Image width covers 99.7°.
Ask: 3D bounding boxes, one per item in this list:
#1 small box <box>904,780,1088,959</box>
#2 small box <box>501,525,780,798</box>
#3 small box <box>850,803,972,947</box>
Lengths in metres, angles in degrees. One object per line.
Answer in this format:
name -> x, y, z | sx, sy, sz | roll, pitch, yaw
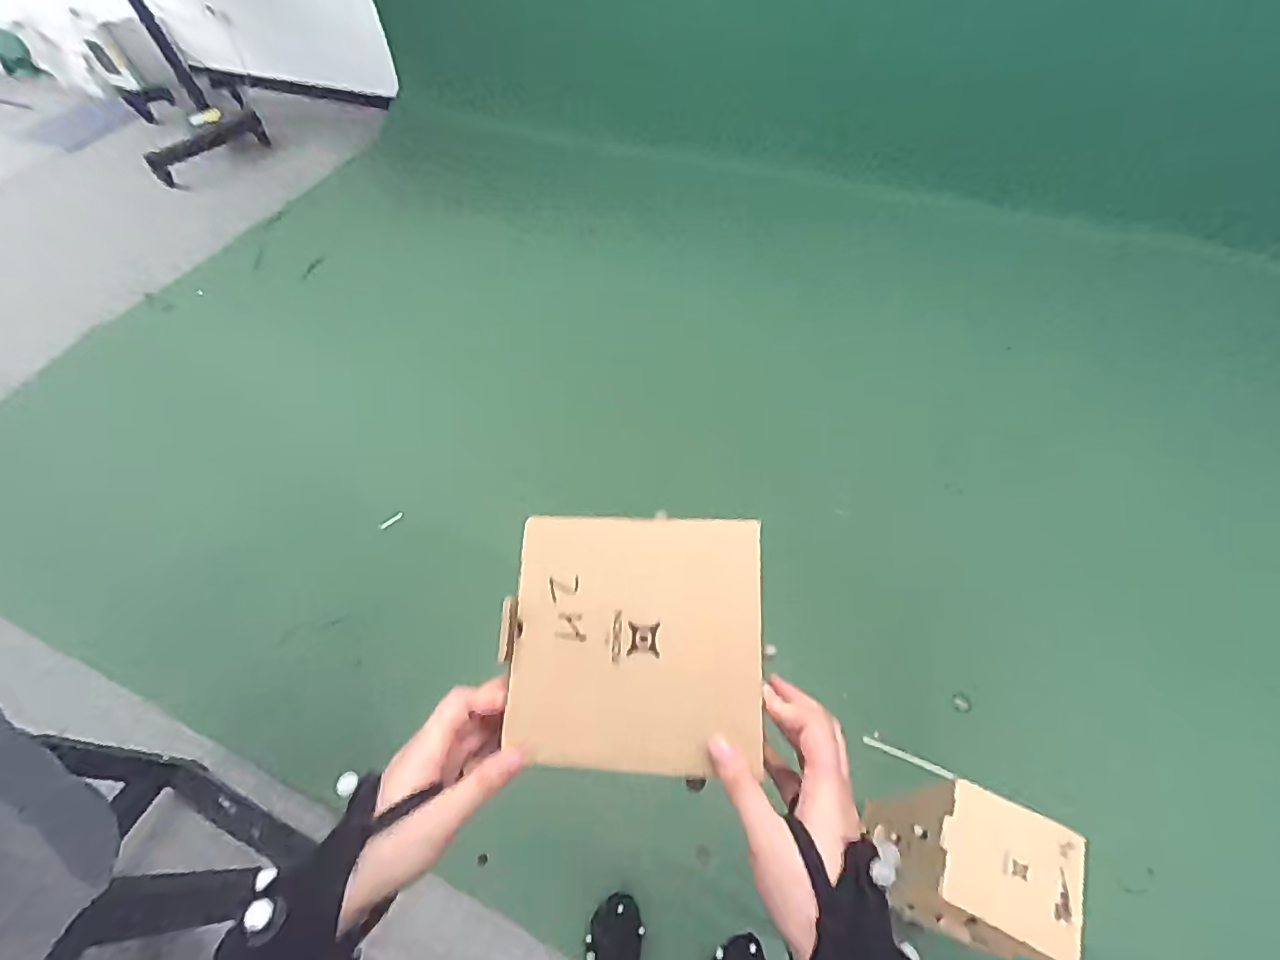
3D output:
small box -> 0.525, 0.589, 0.816 | 0.179, 0.176, 0.168 | 21, 59, 17
small box -> 0.011, 0.133, 0.429 | 0.179, 0.176, 0.168 | -1, 73, 9
small box -> 0.549, 0.779, 1.084 | 0.179, 0.176, 0.168 | 23, 60, 17
